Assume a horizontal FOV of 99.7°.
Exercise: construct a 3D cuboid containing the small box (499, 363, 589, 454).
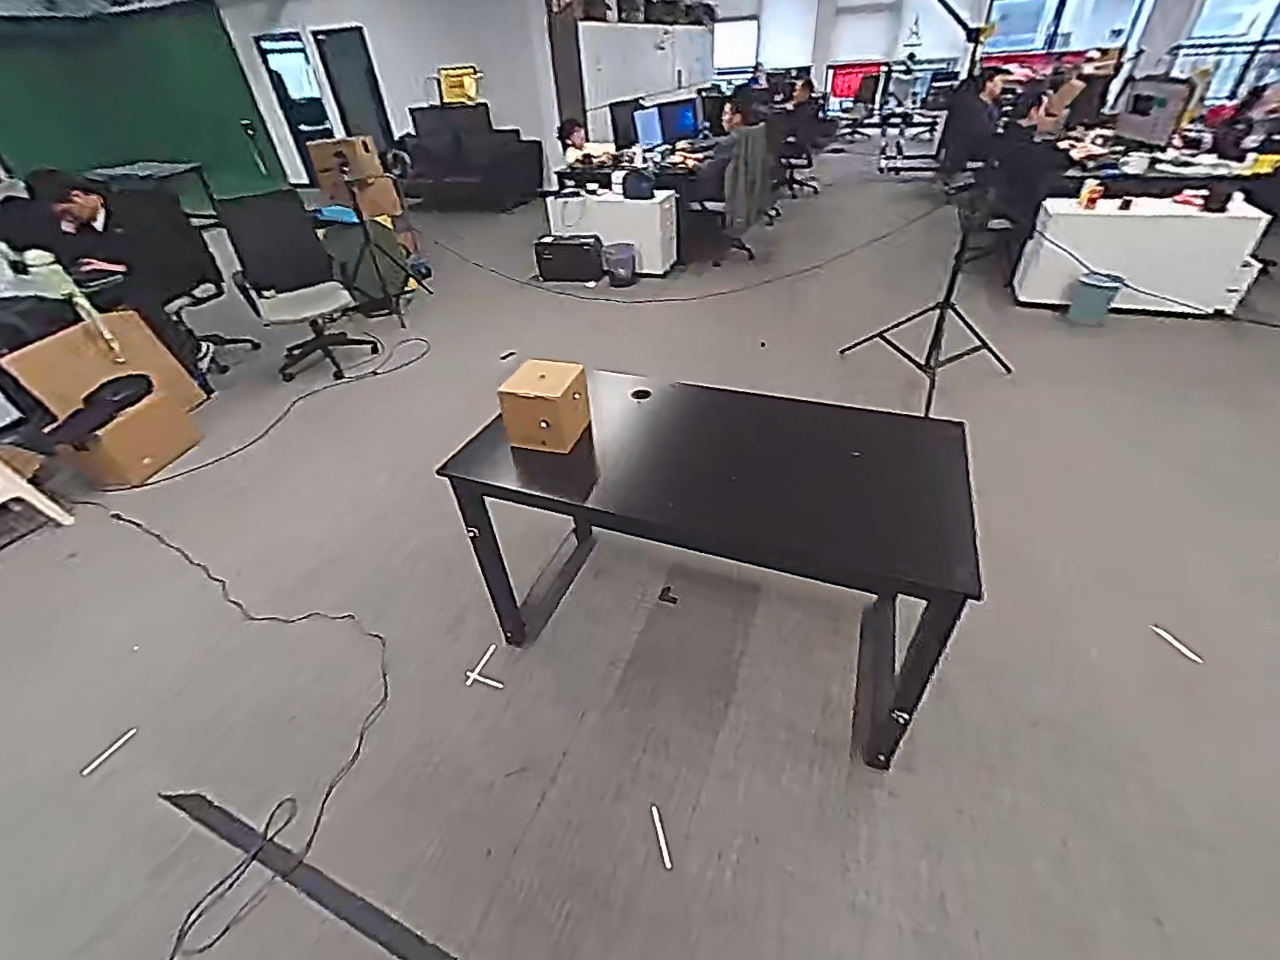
[{"bbox_3d":[-0.239,-0.186,1.408,0.168,0.176,0.179,9,39,15],"label":"small box"}]
